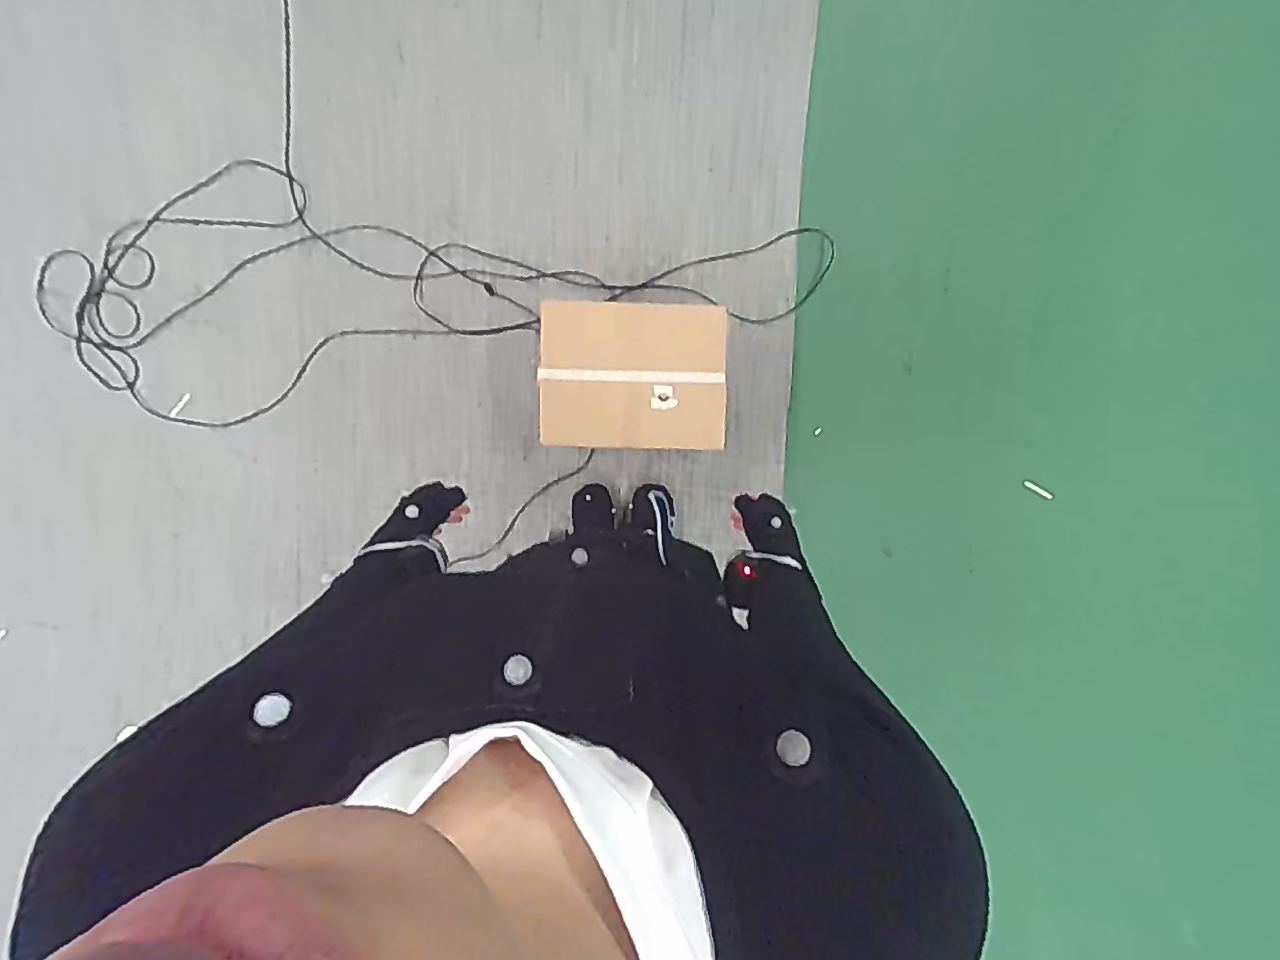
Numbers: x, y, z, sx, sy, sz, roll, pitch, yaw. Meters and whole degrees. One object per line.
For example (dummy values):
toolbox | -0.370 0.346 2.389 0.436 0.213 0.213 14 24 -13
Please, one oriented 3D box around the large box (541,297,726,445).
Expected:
large box | -0.020 -0.243 1.315 0.408 0.320 0.320 1 94 -2
